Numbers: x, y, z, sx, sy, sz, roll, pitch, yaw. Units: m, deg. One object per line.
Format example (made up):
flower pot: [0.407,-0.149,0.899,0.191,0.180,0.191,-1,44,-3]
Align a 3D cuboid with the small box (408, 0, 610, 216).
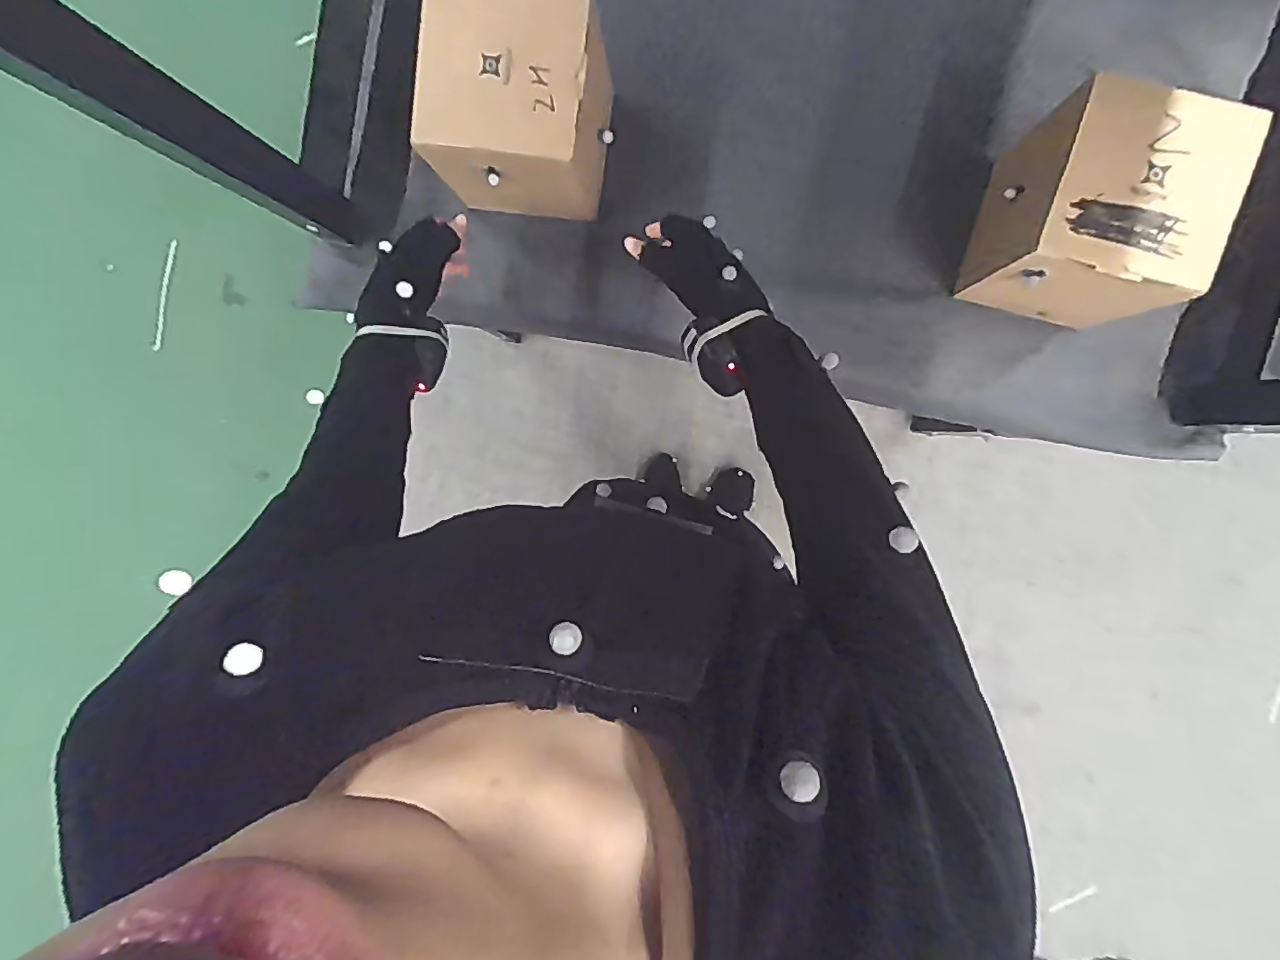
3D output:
small box: [-0.140,-0.428,0.630,0.179,0.176,0.168,9,97,3]
